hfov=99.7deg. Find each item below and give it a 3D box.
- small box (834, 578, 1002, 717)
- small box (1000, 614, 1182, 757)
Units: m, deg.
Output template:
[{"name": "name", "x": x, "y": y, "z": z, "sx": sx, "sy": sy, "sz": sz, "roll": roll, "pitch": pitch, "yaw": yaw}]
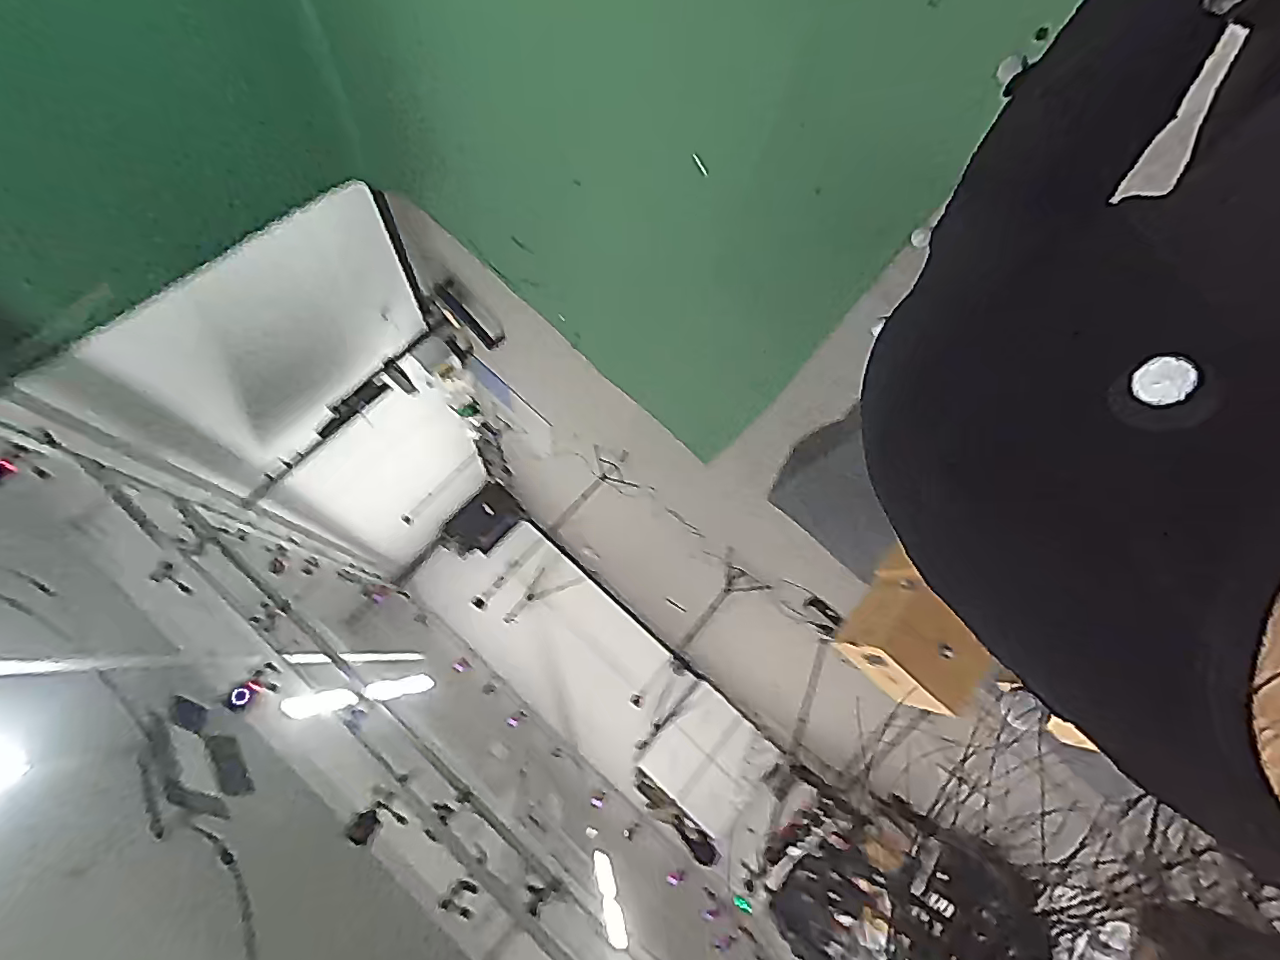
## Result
[{"name": "small box", "x": 0.501, "y": 0.291, "z": 0.984, "sx": 0.179, "sy": 0.176, "sz": 0.168, "roll": 41, "pitch": 163, "yaw": 1}, {"name": "small box", "x": 0.836, "y": 0.372, "z": 1.007, "sx": 0.179, "sy": 0.176, "sz": 0.168, "roll": 42, "pitch": 162, "yaw": 5}]
